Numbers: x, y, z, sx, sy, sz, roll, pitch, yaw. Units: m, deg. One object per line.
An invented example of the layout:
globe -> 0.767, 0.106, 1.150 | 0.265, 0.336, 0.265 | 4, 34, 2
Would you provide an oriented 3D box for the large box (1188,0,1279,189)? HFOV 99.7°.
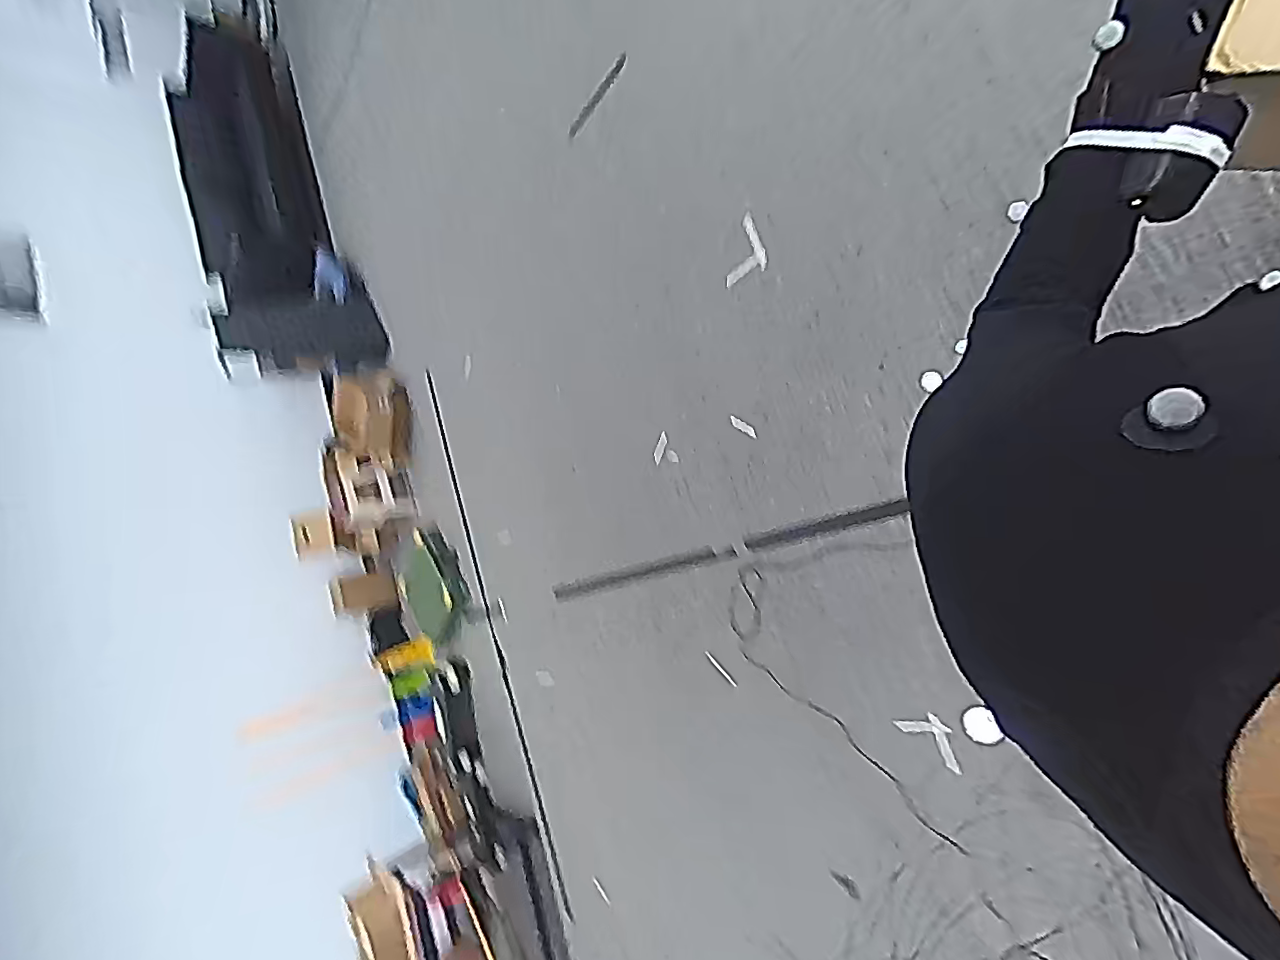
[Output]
large box -> 0.617, -0.348, 0.277 | 0.408, 0.320, 0.320 | 27, 120, 39
